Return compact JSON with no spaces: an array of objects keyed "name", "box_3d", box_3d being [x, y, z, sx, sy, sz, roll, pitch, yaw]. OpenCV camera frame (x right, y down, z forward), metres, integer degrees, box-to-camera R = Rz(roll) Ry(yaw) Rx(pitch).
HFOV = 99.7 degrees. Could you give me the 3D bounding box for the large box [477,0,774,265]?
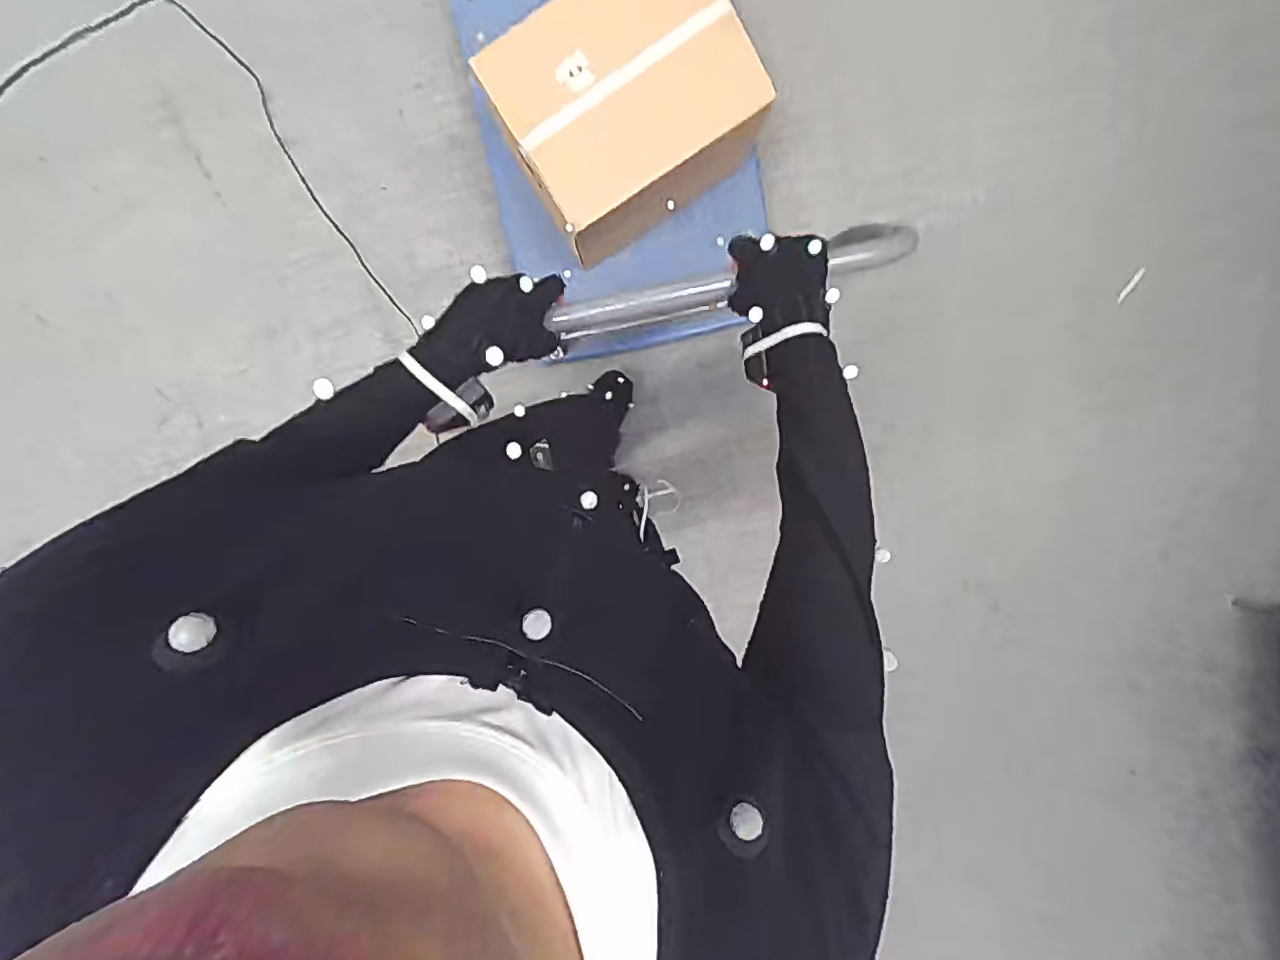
[{"name":"large box","box_3d":[-0.025,-0.679,1.030,0.408,0.320,0.320,-32,99,4]}]
